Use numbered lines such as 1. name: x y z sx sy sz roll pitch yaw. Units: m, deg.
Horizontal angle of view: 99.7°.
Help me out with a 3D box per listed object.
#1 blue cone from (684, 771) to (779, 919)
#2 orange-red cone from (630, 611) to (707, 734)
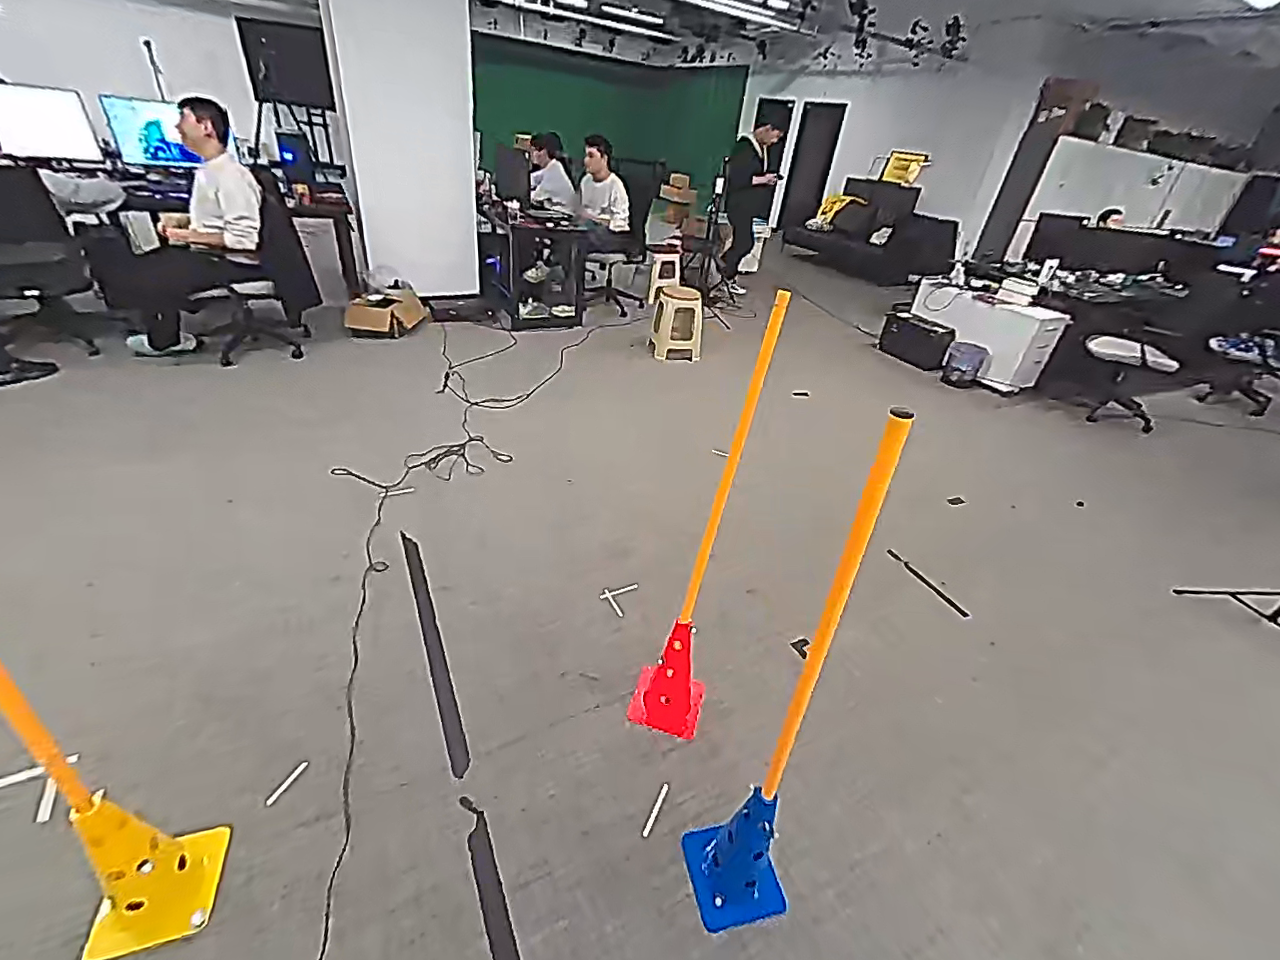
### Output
1. blue cone: 0.228 0.758 1.165 0.193 0.380 0.192 -2 33 -13
2. orange-red cone: 0.102 0.502 1.505 0.198 0.360 0.199 15 35 12
